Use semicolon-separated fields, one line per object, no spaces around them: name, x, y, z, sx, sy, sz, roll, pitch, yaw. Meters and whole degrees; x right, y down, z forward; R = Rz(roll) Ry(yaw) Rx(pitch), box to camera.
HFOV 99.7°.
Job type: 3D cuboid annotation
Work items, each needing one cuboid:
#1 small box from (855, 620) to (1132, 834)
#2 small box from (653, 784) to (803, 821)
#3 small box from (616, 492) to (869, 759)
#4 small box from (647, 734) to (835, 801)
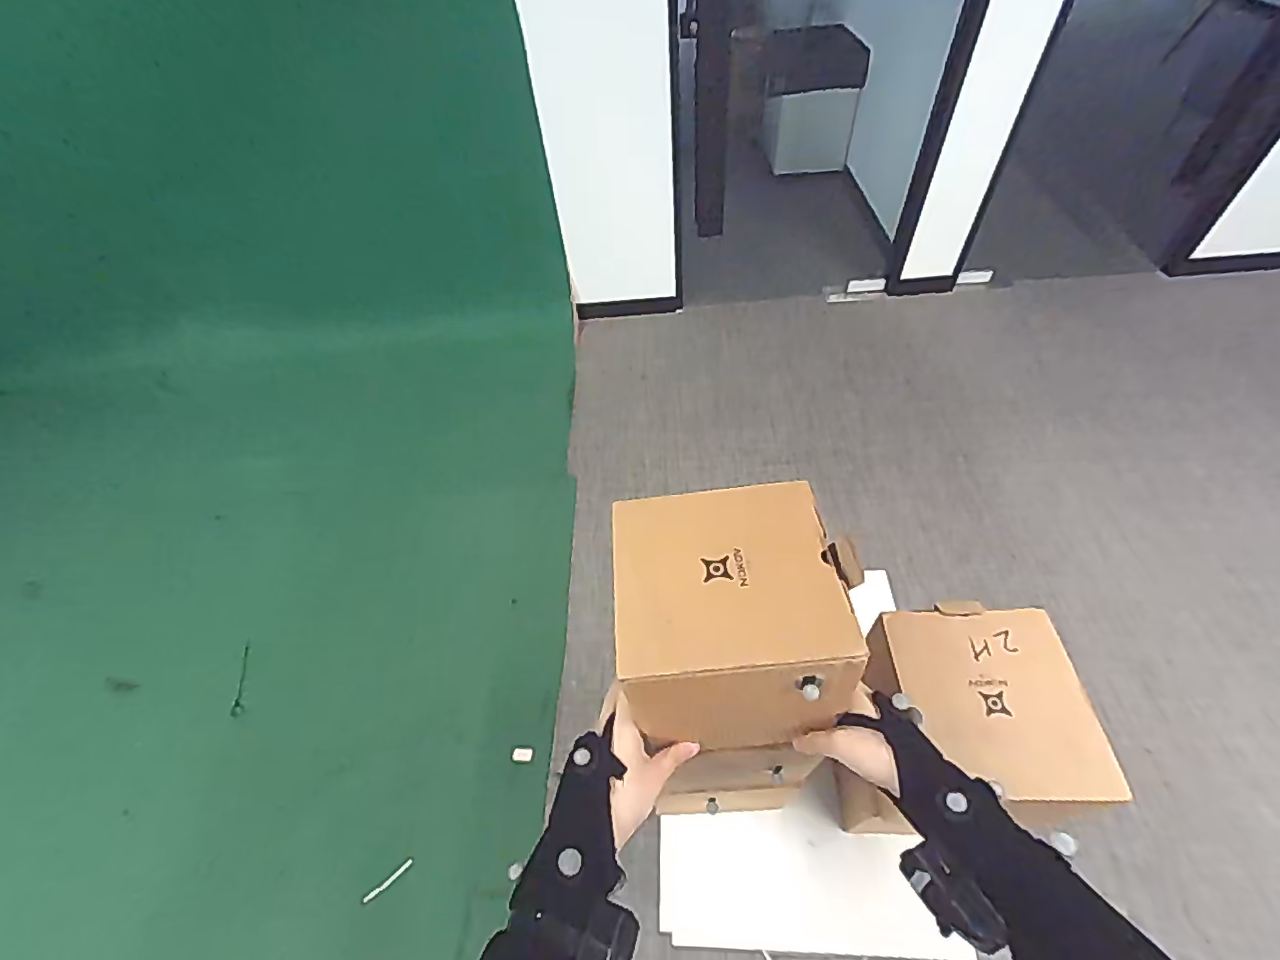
small box;0.341;0.263;0.570;0.168;0.176;0.179;-2;51;5
small box;0.105;0.354;0.734;0.179;0.176;0.168;-4;51;1
small box;0.078;0.134;0.483;0.179;0.176;0.168;-6;47;3
small box;0.094;0.250;0.608;0.179;0.176;0.168;-5;50;1
